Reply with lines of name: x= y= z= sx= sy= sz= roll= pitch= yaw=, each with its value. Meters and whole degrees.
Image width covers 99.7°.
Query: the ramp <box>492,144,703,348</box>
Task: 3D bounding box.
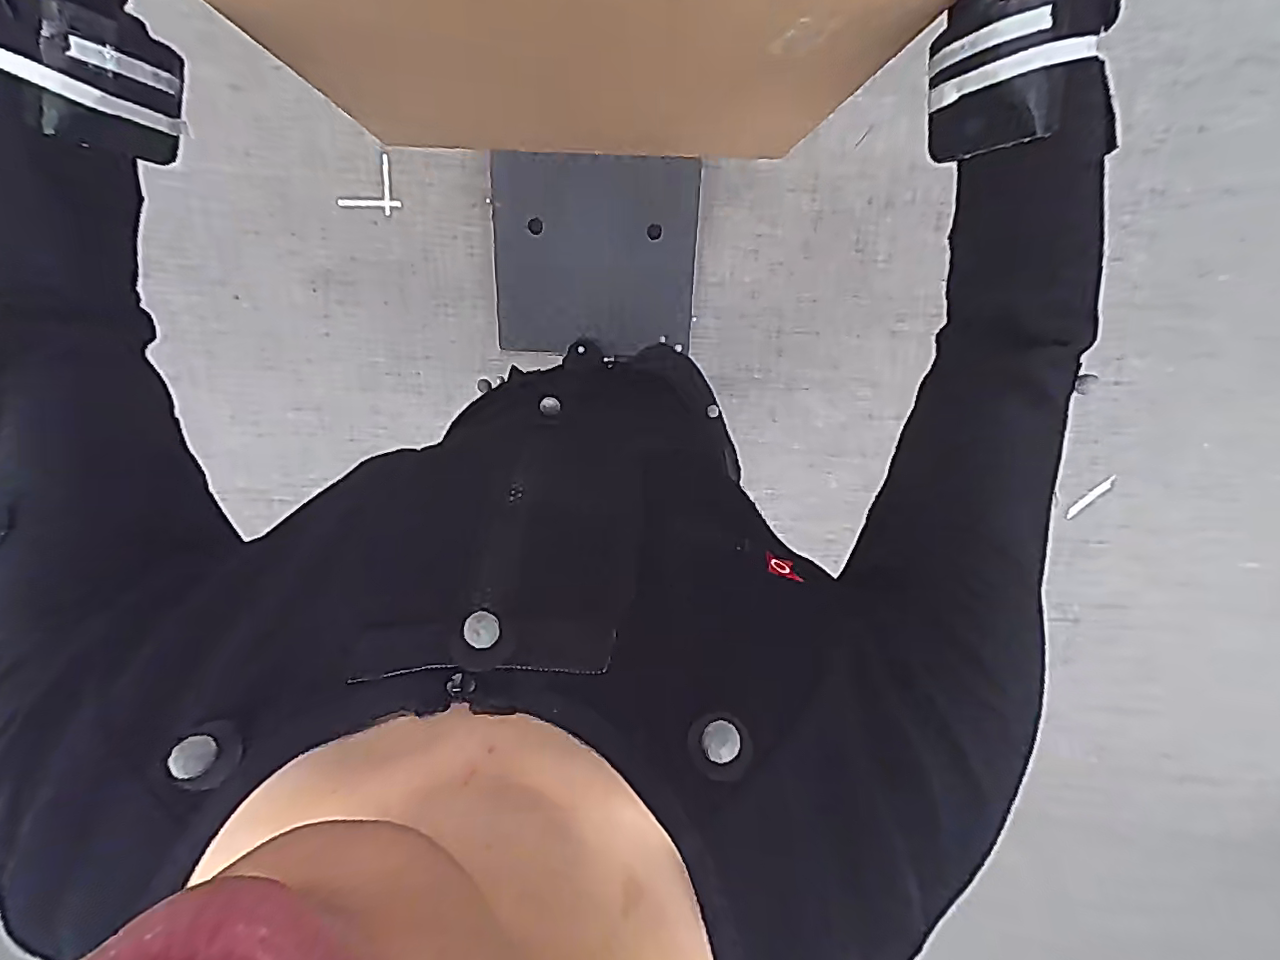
ramp: x=-0.094 y=-0.815 z=1.228 sx=0.509 sy=0.206 sz=0.991 roll=0 pitch=101 yaw=-2

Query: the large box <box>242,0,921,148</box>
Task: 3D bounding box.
large box: x=-0.041 y=-0.446 z=0.369 sx=0.408 sy=0.320 sz=0.320 roll=-1 pitch=107 yaw=-4
